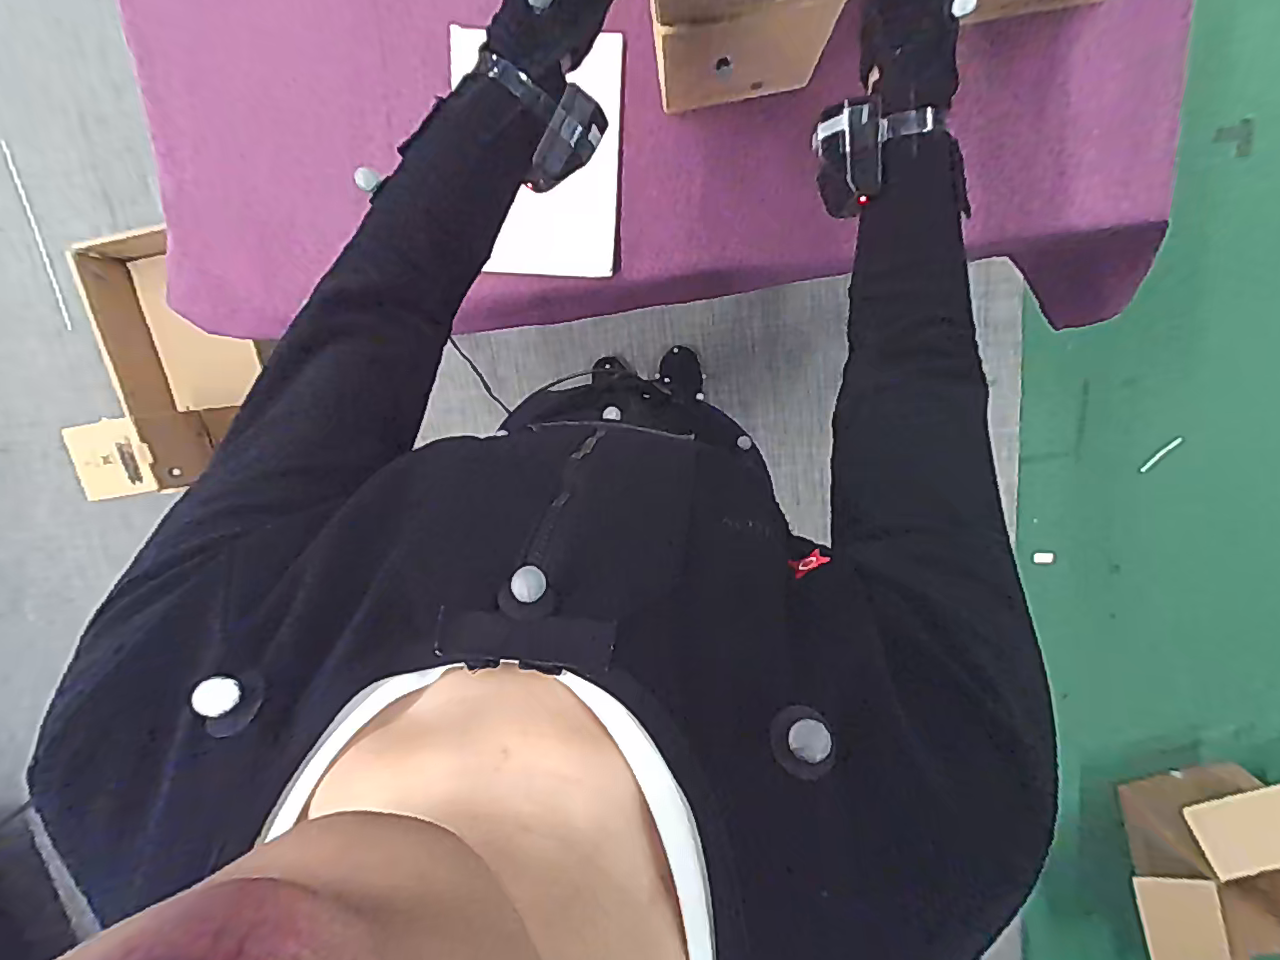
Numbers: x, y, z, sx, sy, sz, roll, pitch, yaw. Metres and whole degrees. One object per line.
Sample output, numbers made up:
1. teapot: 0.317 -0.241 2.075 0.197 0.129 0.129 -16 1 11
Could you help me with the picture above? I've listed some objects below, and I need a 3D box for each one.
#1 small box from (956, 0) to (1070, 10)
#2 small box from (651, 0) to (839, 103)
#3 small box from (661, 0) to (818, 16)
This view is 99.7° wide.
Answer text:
1. small box: 0.402 -0.576 0.493 0.168 0.176 0.179 -4 102 5
2. small box: 0.091 -0.506 0.533 0.168 0.176 0.179 -8 102 6
3. small box: 0.081 -0.476 0.370 0.168 0.176 0.179 -3 102 5
